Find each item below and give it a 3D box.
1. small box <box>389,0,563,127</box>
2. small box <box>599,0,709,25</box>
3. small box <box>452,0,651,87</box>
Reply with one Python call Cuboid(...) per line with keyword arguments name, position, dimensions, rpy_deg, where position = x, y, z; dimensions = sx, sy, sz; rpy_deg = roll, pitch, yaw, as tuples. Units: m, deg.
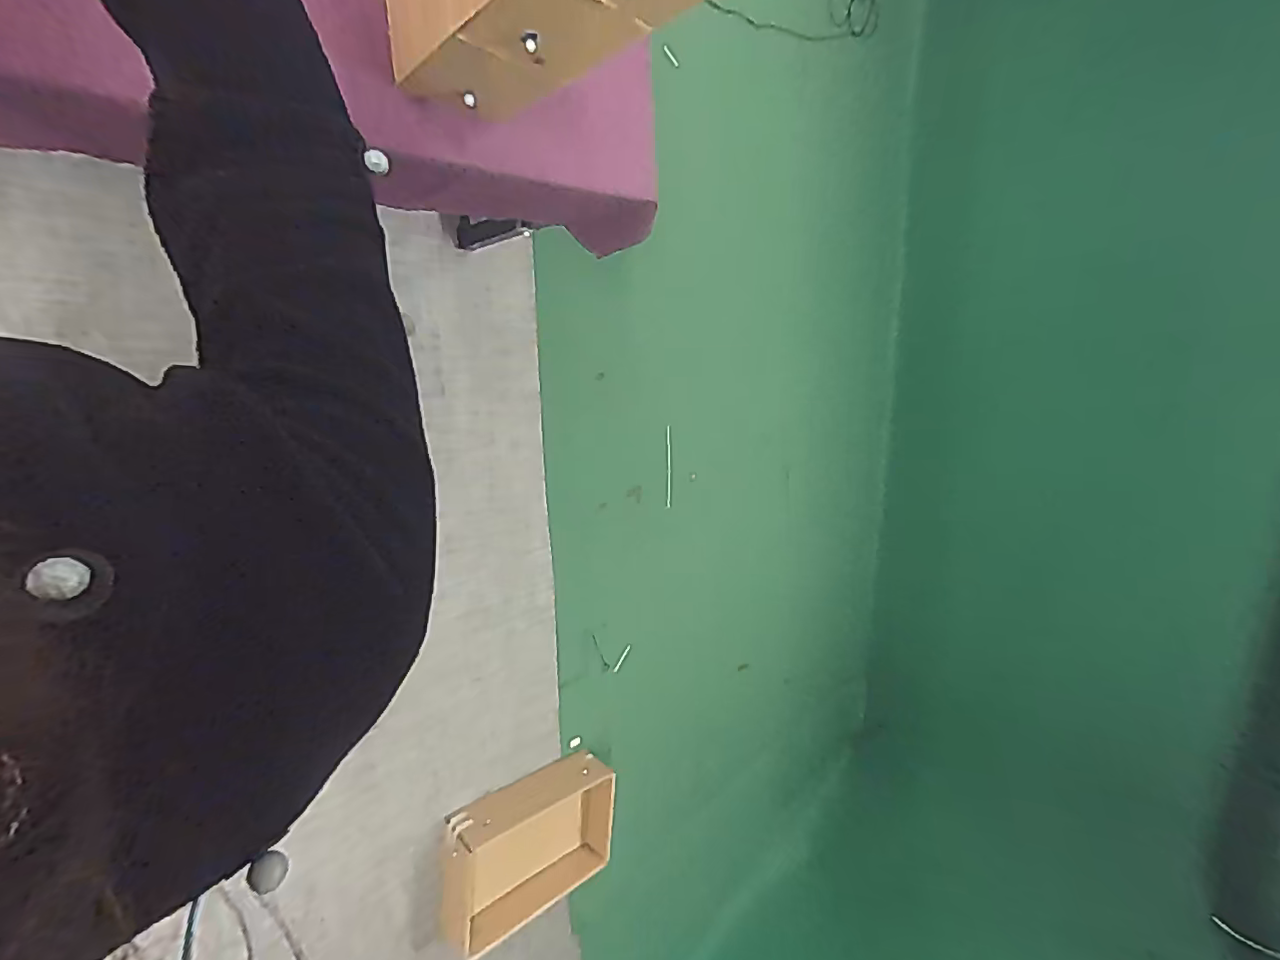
Cuboid(name="small box", position=(-0.223, -0.615, 0.723), dimensions=(0.168, 0.176, 0.179), rpy_deg=(-13, 107, -43))
Cuboid(name="small box", position=(0.013, -0.572, 0.500), dimensions=(0.179, 0.176, 0.168), rpy_deg=(-11, 106, -46))
Cuboid(name="small box", position=(-0.104, -0.595, 0.613), dimensions=(0.168, 0.176, 0.179), rpy_deg=(-14, 108, -44))
